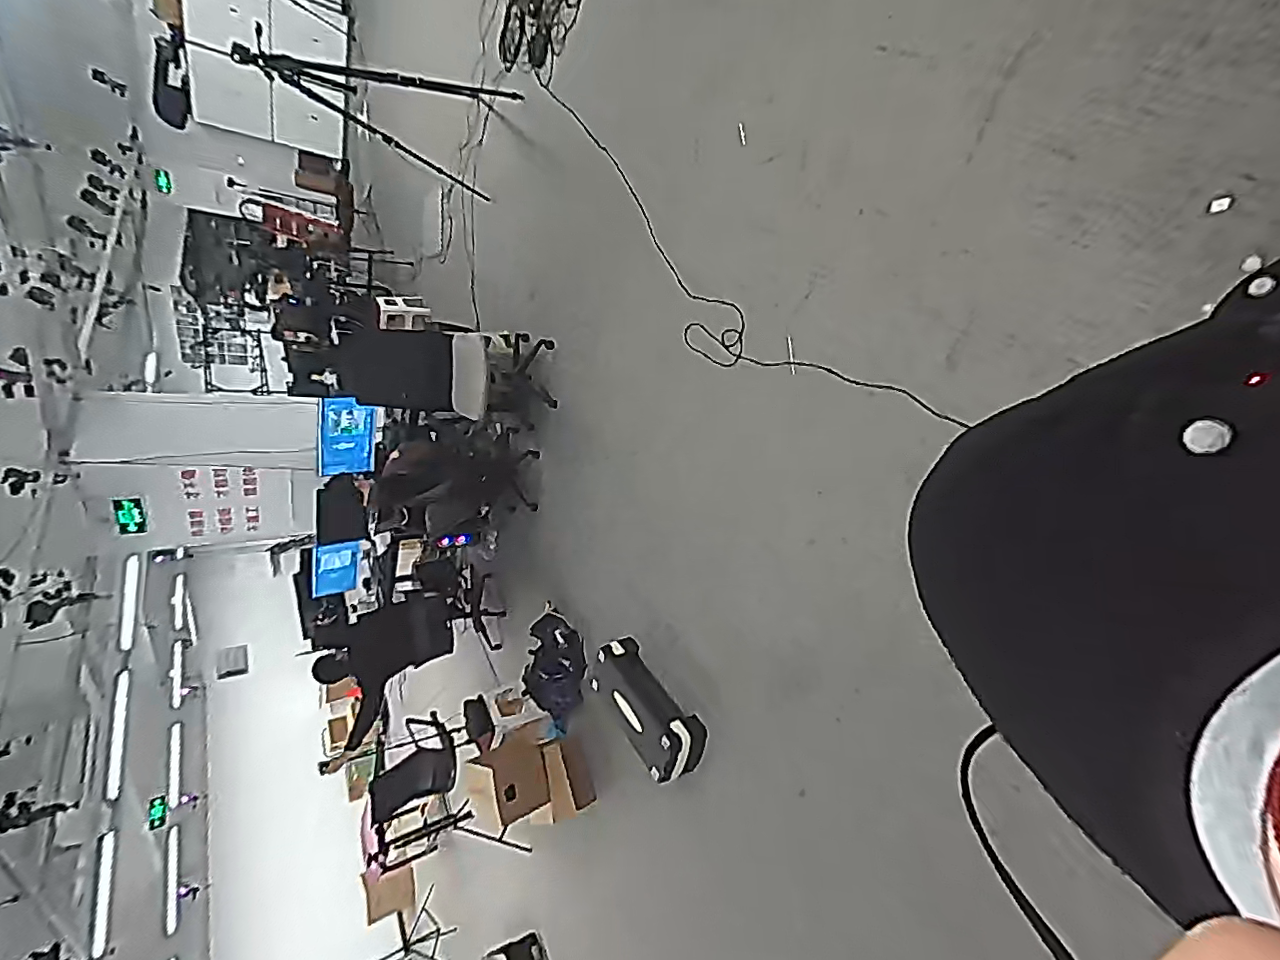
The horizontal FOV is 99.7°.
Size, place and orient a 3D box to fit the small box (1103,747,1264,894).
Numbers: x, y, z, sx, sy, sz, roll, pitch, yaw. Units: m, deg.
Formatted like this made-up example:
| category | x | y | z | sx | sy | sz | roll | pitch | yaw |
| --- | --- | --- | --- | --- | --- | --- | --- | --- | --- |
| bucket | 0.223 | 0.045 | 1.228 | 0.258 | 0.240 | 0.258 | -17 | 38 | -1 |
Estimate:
| category | x | y | z | sx | sy | sz | roll | pitch | yaw |
| --- | --- | --- | --- | --- | --- | --- | --- | --- | --- |
| small box | 1.129 | 0.698 | 1.122 | 0.168 | 0.176 | 0.179 | 46 | 128 | 39 |
